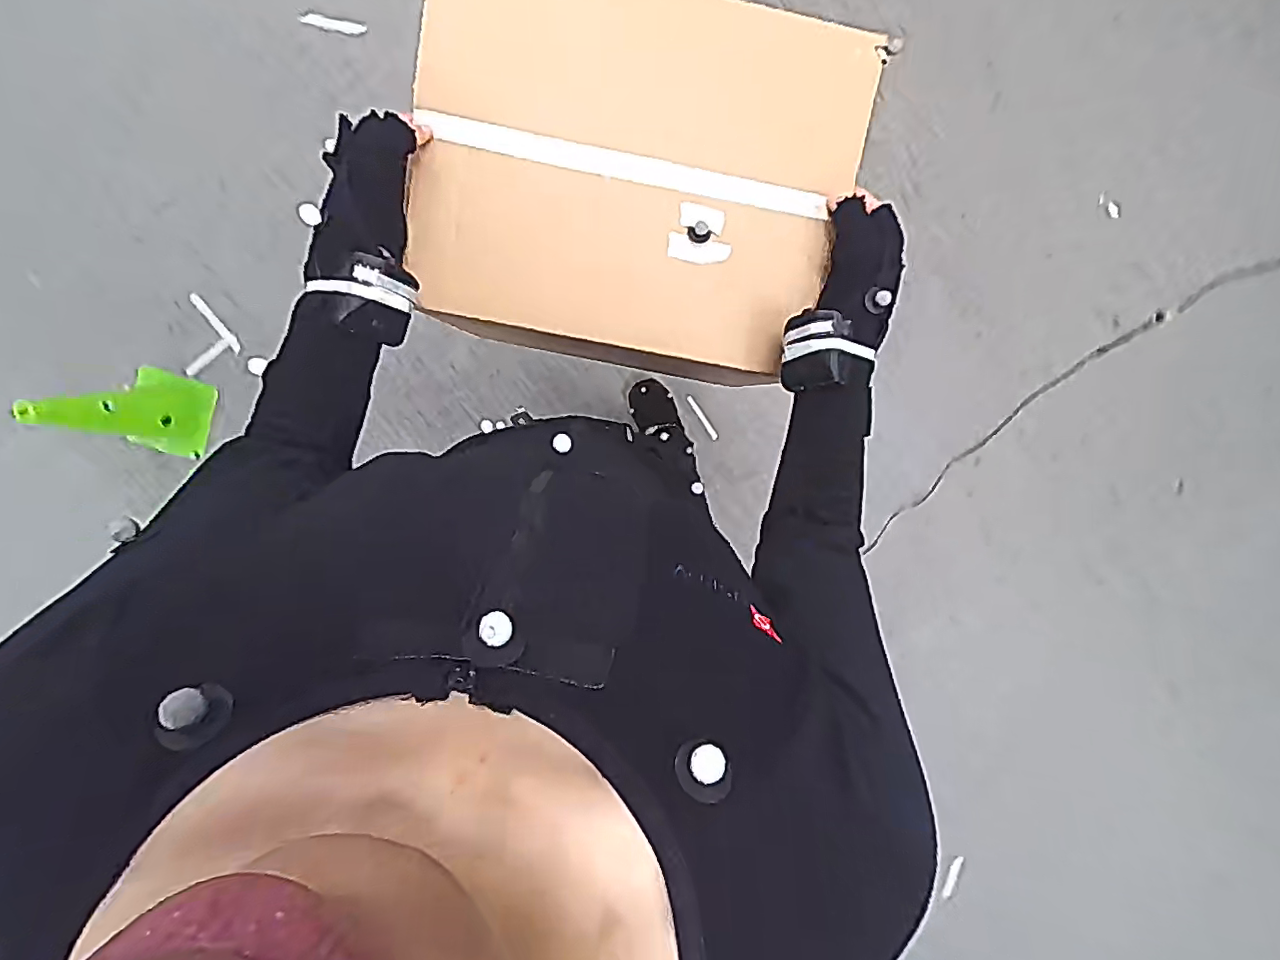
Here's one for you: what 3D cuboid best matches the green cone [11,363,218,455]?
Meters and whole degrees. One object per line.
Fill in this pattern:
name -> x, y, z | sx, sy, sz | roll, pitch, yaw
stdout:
green cone -> -1.200, -0.167, 1.226 | 0.202, 0.368, 0.200 | 17, 95, -3

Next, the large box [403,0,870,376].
large box -> -0.016, -0.313, 0.645 | 0.408, 0.320, 0.320 | 9, 99, -5
